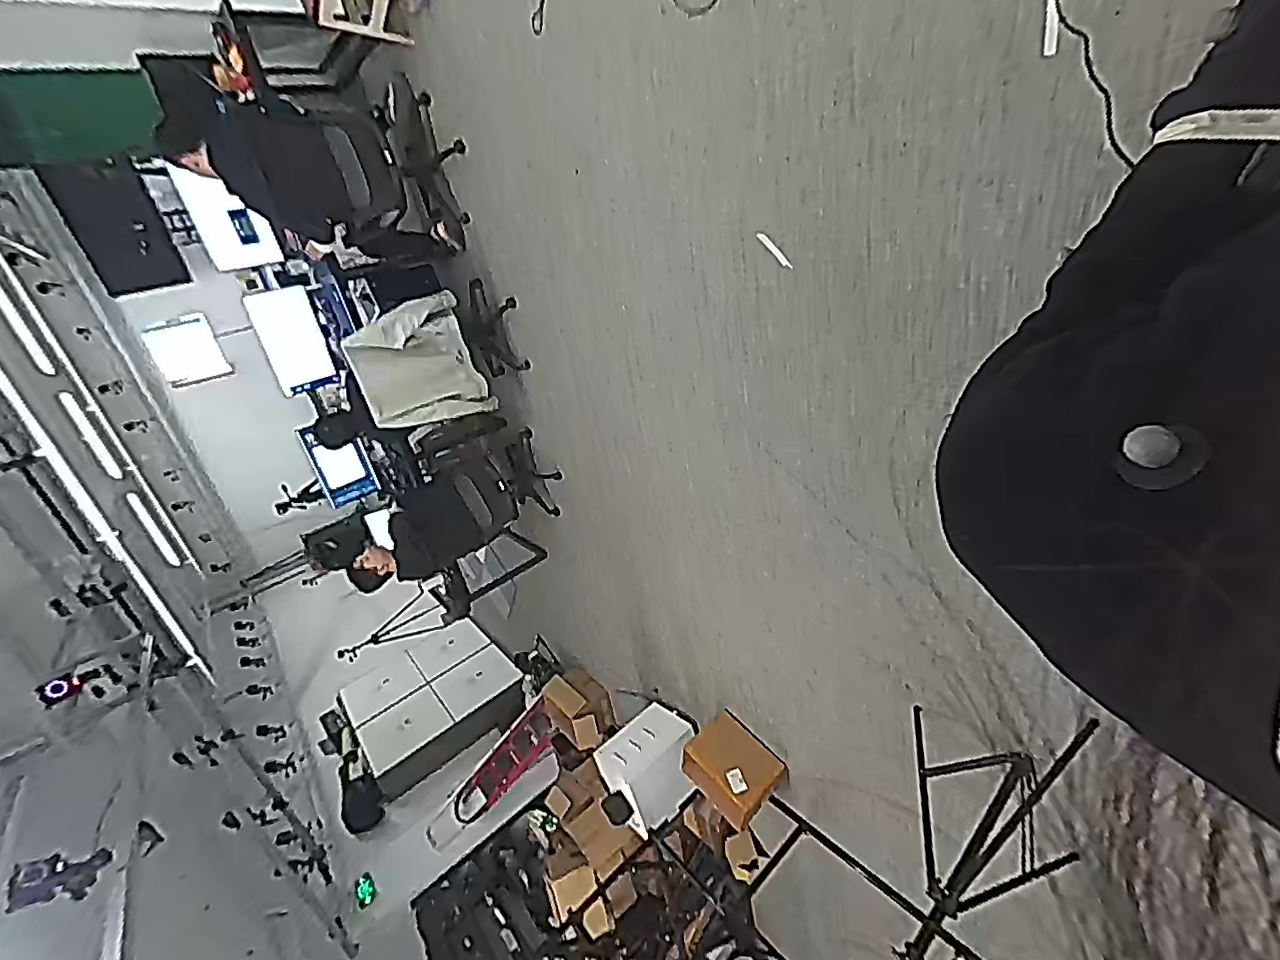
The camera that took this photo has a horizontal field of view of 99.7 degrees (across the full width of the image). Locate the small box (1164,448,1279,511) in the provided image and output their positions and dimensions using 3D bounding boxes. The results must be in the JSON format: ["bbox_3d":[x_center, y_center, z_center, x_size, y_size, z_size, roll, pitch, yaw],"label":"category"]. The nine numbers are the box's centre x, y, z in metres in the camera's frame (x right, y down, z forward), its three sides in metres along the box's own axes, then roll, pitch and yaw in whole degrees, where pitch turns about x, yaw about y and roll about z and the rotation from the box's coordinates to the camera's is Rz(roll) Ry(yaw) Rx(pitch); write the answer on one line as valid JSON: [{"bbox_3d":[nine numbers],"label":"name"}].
[{"bbox_3d":[0.789,0.074,0.709,0.168,0.176,0.179,19,130,46],"label":"small box"}]
